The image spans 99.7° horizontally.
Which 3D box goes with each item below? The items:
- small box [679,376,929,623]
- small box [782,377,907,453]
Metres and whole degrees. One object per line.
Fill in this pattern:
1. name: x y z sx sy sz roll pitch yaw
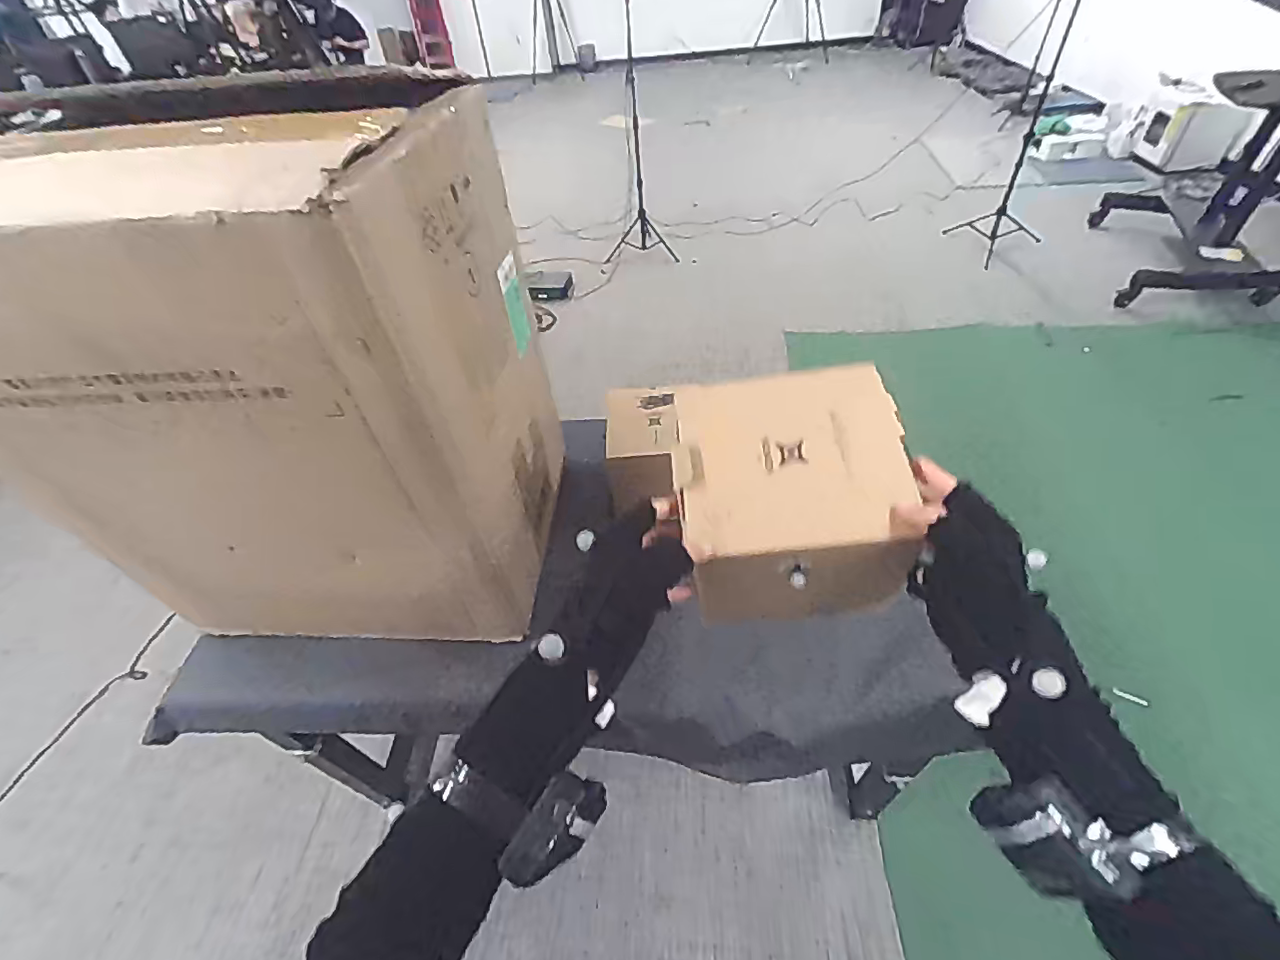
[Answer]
1. small box: 0.137 0.028 0.509 0.179 0.176 0.168 -6 58 6
2. small box: 0.337 -0.065 0.954 0.179 0.176 0.168 -1 46 5
